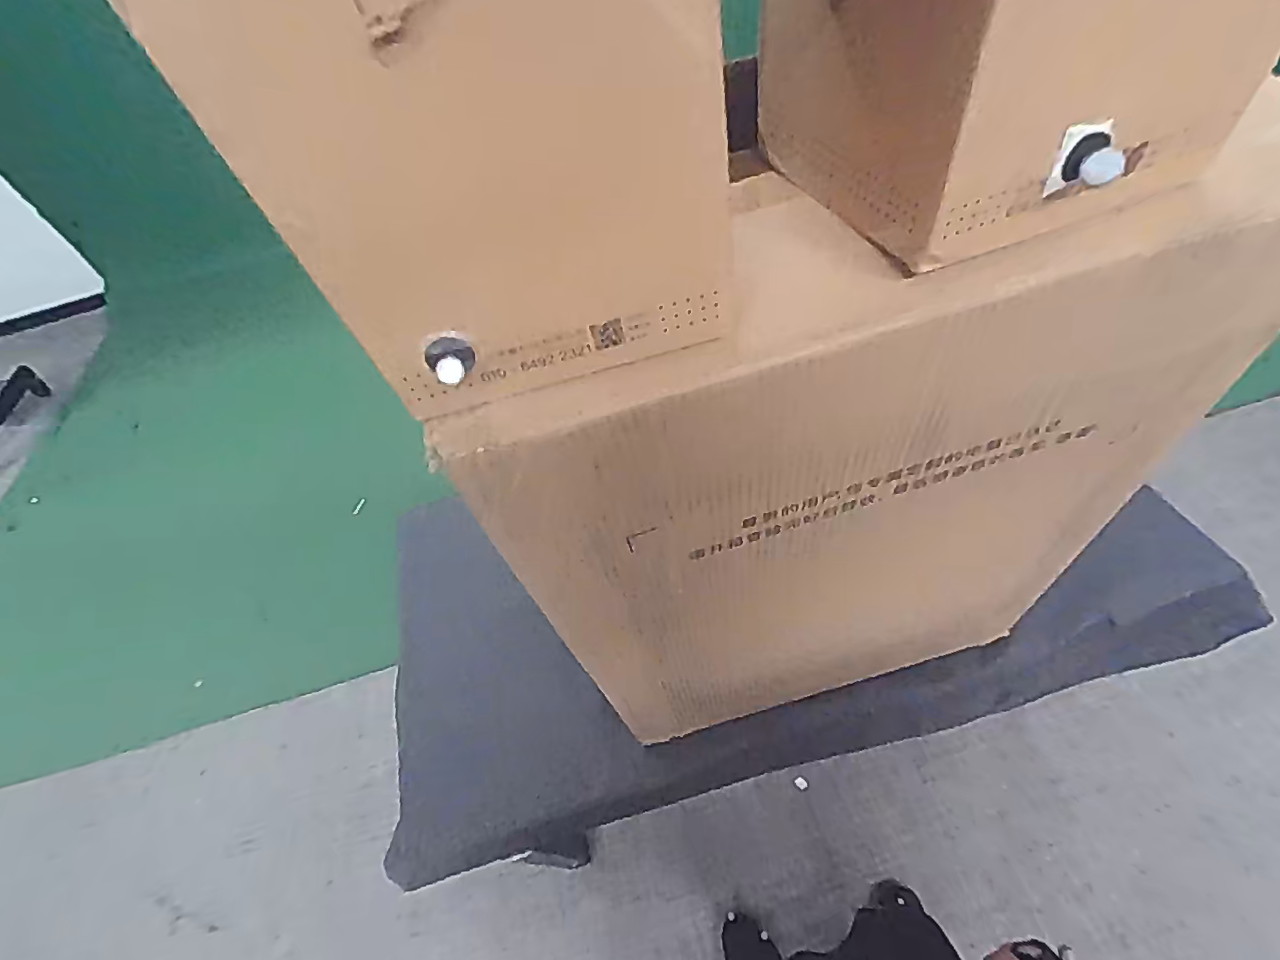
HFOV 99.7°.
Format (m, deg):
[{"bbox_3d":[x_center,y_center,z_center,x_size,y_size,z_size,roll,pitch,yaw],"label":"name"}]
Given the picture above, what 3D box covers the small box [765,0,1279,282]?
[{"bbox_3d":[0.169,-0.229,0.260,0.168,0.176,0.179,-22,53,-3],"label":"small box"}]
